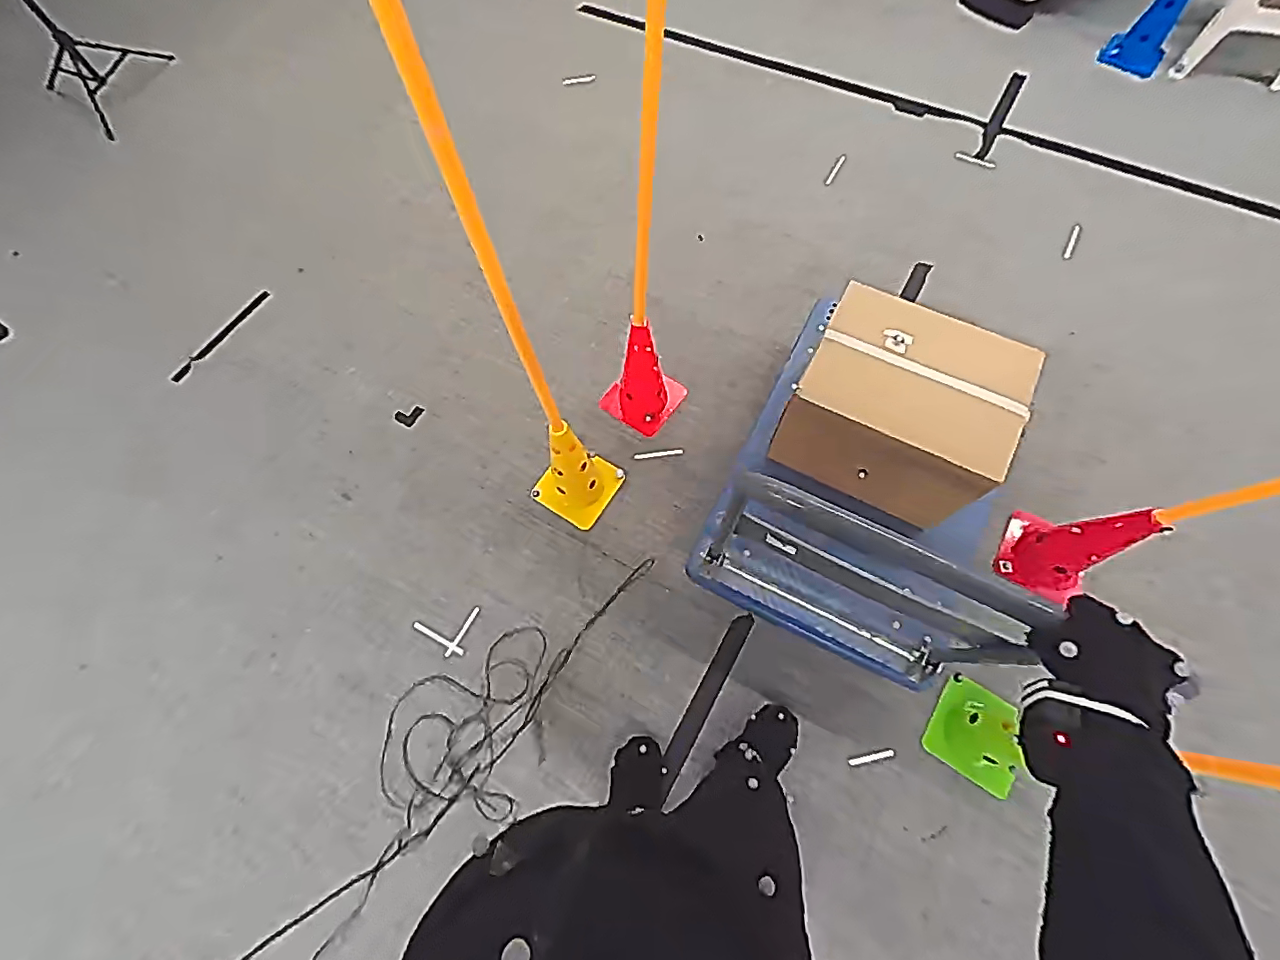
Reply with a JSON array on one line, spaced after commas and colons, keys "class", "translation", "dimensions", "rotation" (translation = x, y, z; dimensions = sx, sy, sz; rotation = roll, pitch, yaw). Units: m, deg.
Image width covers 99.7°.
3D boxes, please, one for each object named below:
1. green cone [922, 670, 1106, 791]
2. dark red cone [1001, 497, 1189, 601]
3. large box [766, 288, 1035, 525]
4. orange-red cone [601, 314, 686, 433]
[{"class": "green cone", "translation": [0.770, 0.511, 1.086], "dimensions": [0.202, 0.368, 0.200], "rotation": [32, 73, 12]}, {"class": "dark red cone", "translation": [1.029, 0.121, 1.212], "dimensions": [0.201, 0.394, 0.202], "rotation": [28, 72, 10]}, {"class": "large box", "translation": [0.545, -0.148, 1.202], "dimensions": [0.408, 0.320, 0.320], "rotation": [26, 72, 12]}, {"class": "orange-red cone", "translation": [0.008, -0.315, 1.443], "dimensions": [0.198, 0.360, 0.199], "rotation": [35, 72, 13]}]
